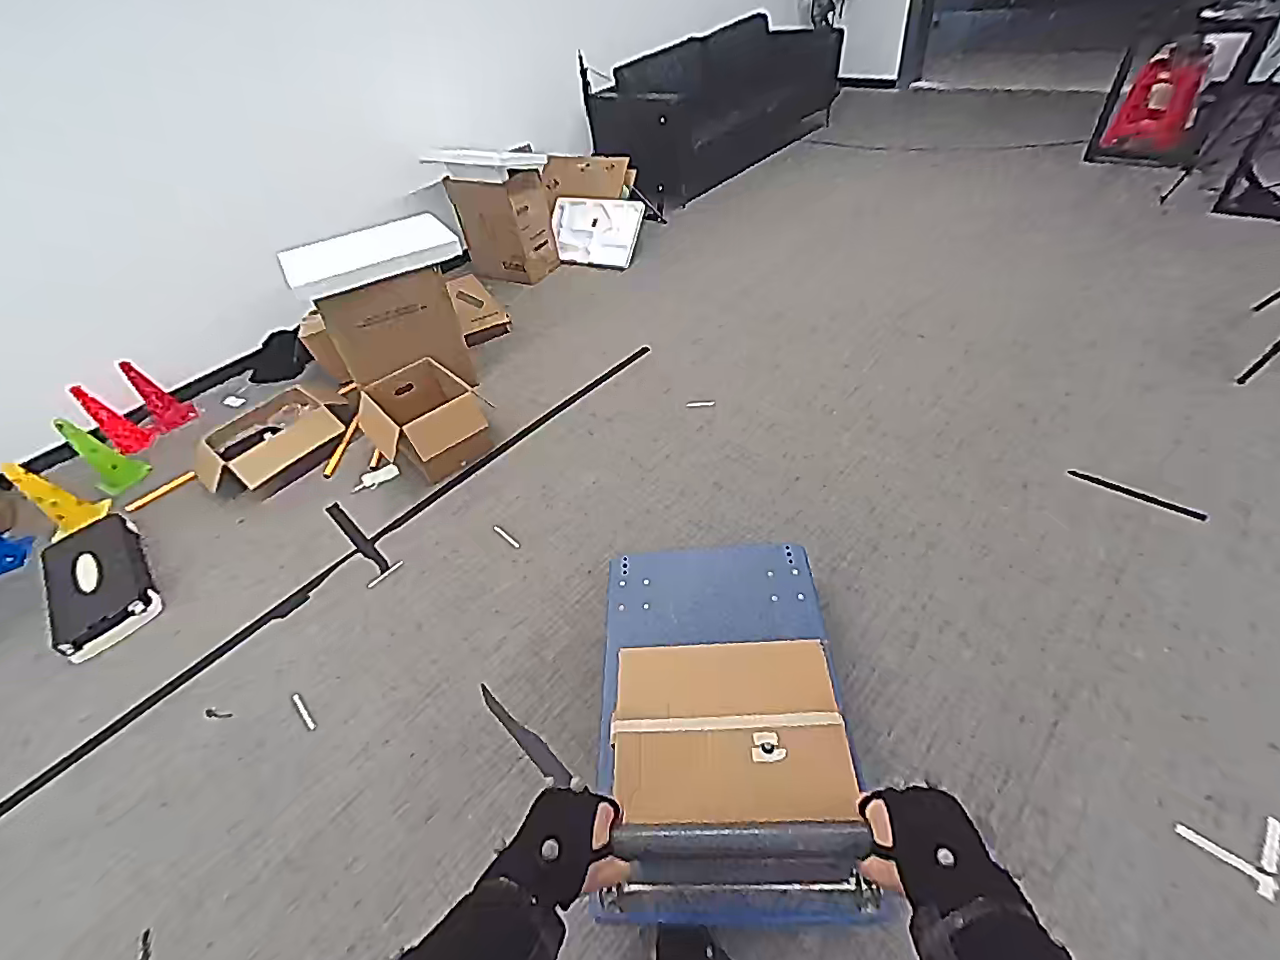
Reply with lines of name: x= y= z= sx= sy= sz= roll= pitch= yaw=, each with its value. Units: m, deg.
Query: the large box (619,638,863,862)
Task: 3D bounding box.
large box: x=0.173 y=0.543 z=1.082 sx=0.408 sy=0.320 sz=0.320 roll=-4 pitch=46 yaw=4
